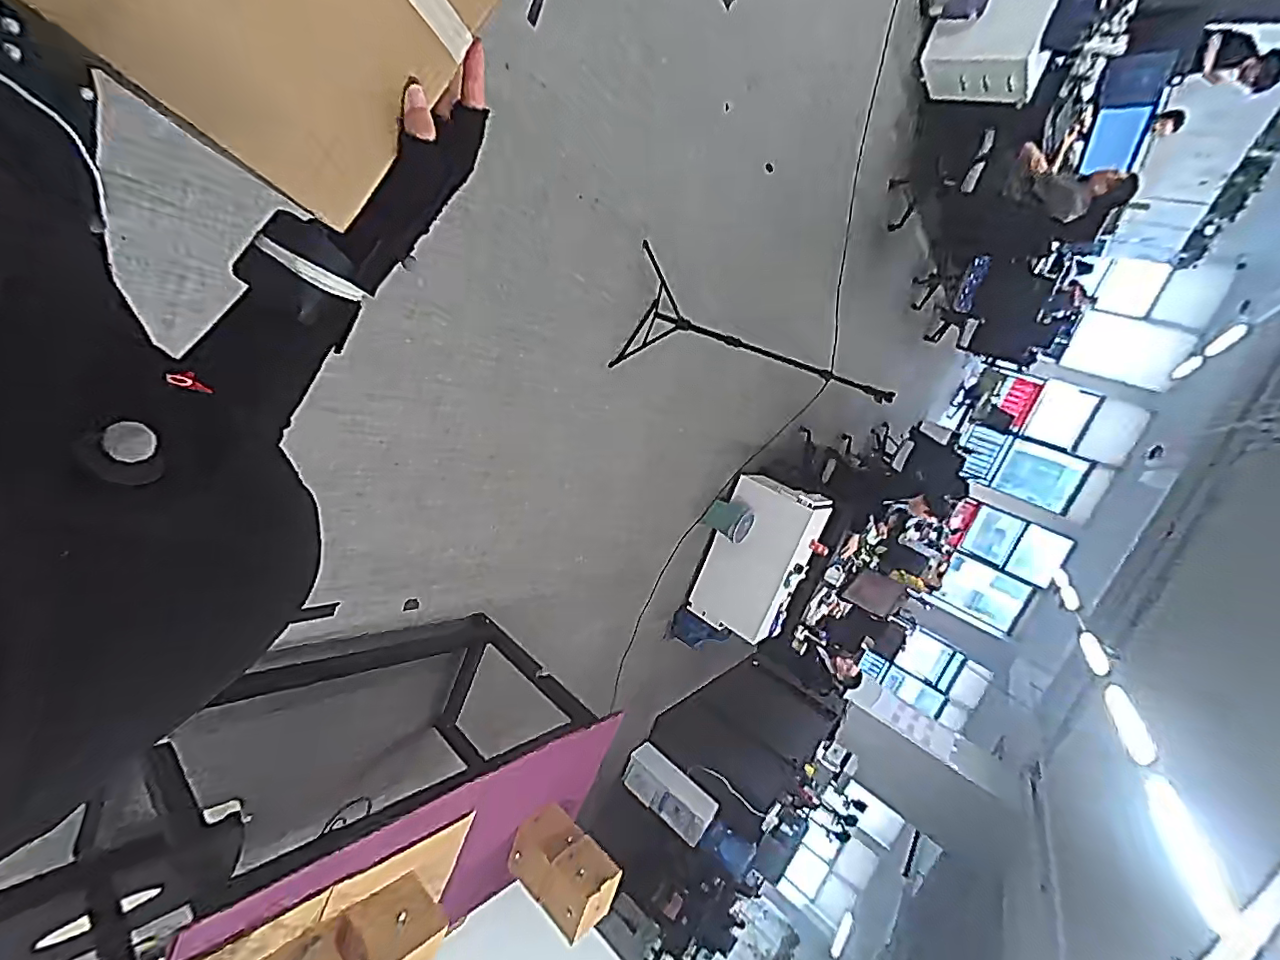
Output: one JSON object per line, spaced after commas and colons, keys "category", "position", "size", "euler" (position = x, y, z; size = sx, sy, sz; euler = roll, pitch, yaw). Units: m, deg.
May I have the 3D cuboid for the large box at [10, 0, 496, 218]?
{"category": "large box", "position": [-0.328, -0.445, 0.311], "size": [0.320, 0.320, 0.408], "euler": [-54, 148, 2]}
